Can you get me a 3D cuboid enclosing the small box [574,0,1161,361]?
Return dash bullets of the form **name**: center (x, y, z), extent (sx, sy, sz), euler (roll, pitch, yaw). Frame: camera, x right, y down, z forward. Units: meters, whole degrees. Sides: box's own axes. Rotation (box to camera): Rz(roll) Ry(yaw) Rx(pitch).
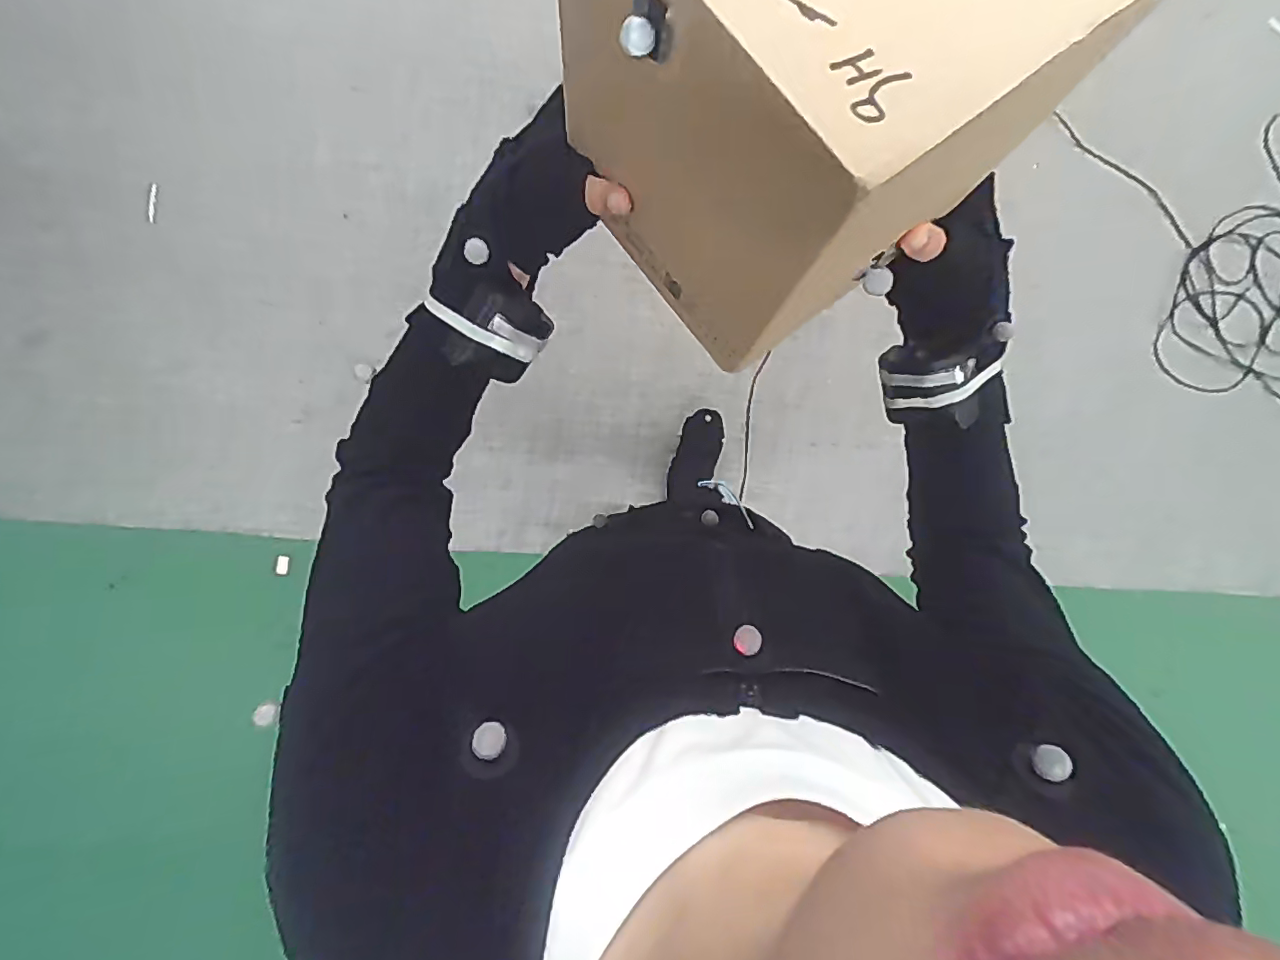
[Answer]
- **small box**: center (0.078, -0.190, 0.261), extent (0.179, 0.176, 0.168), euler (-37, 86, -10)
